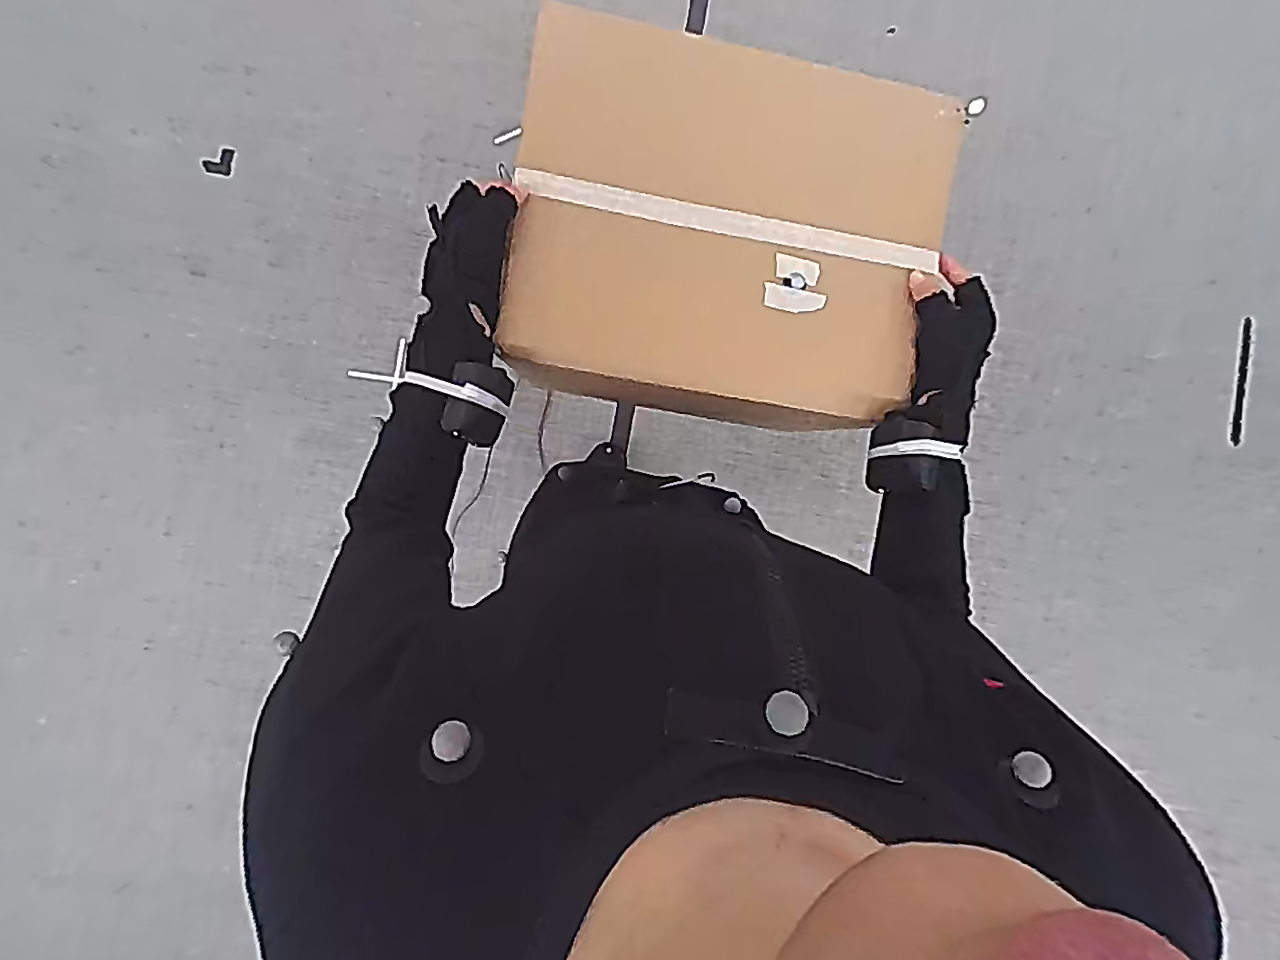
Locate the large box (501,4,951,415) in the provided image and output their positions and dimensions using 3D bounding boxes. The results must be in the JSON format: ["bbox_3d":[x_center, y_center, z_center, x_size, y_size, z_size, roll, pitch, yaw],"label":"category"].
[{"bbox_3d":[0.071,-0.265,0.663,0.408,0.320,0.320,9,95,-6],"label":"large box"}]
